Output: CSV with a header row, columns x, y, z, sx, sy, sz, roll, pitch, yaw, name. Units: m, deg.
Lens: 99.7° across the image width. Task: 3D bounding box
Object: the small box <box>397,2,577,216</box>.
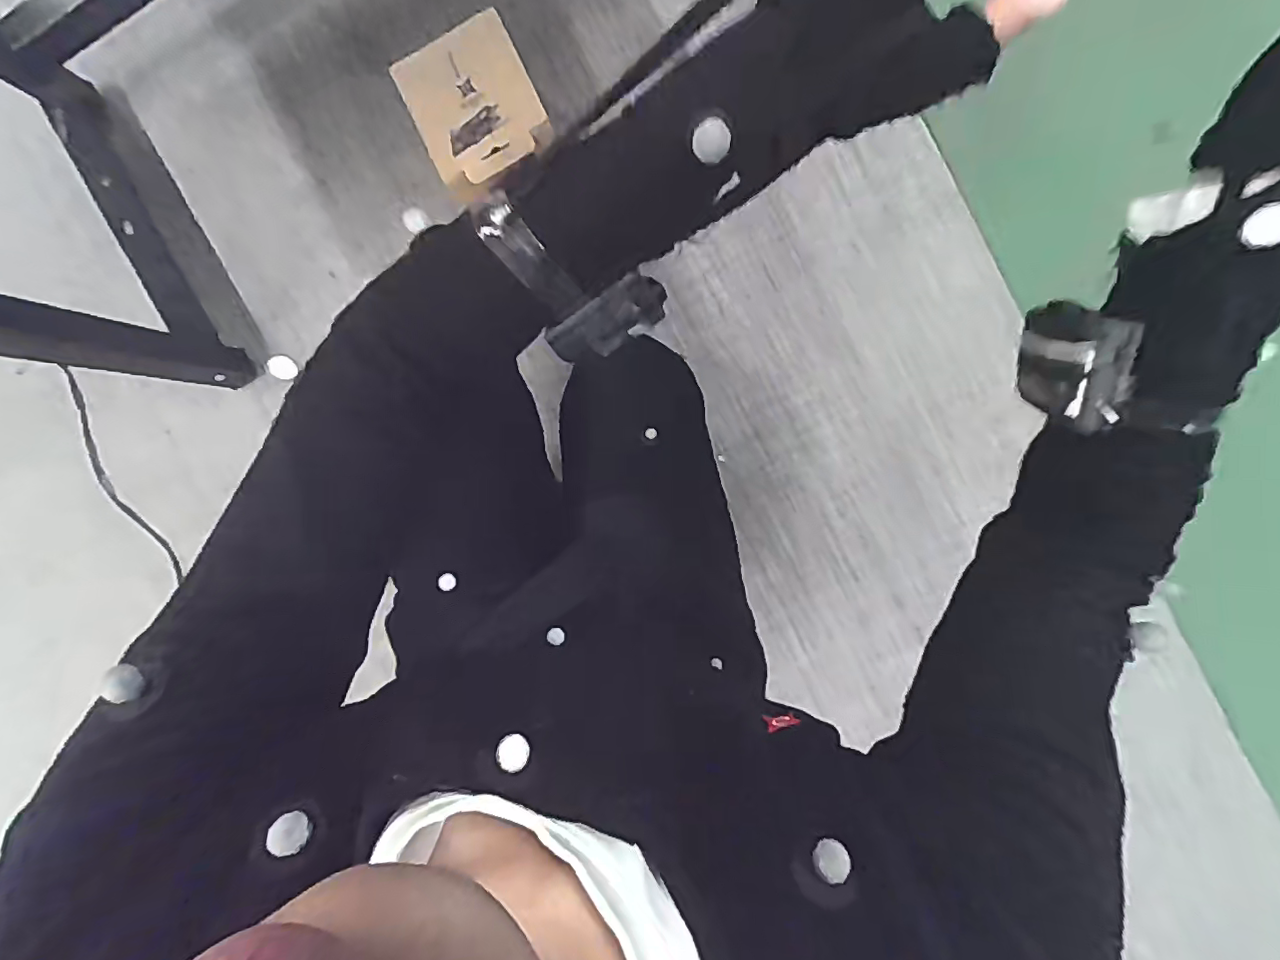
x,y,z,sx,sy,sz,roll,pitch,yaw,name
-0.212,-0.523,0.799,0.168,0.176,0.179,-26,89,7,small box
